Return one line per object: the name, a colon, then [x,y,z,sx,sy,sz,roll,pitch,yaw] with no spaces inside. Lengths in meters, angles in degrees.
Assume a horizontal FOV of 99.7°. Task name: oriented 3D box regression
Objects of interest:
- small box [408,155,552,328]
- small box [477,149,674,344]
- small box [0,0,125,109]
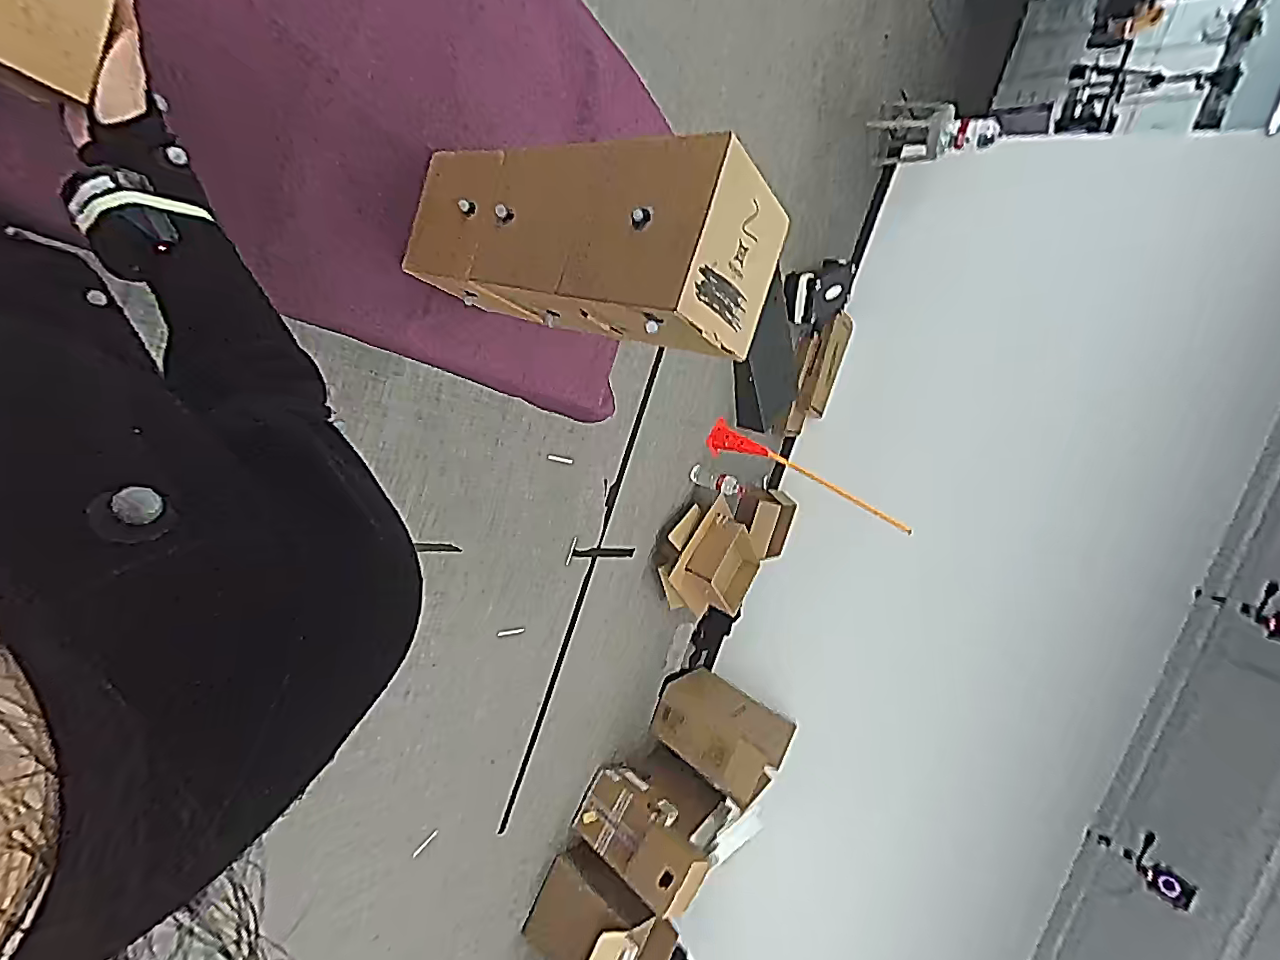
small box: [-0.217,-0.349,0.807,0.168,0.176,0.179,12,98,-56]
small box: [-0.088,-0.303,0.717,0.168,0.176,0.179,13,97,-56]
small box: [-0.463,-0.381,0.349,0.168,0.176,0.179,10,103,-60]
